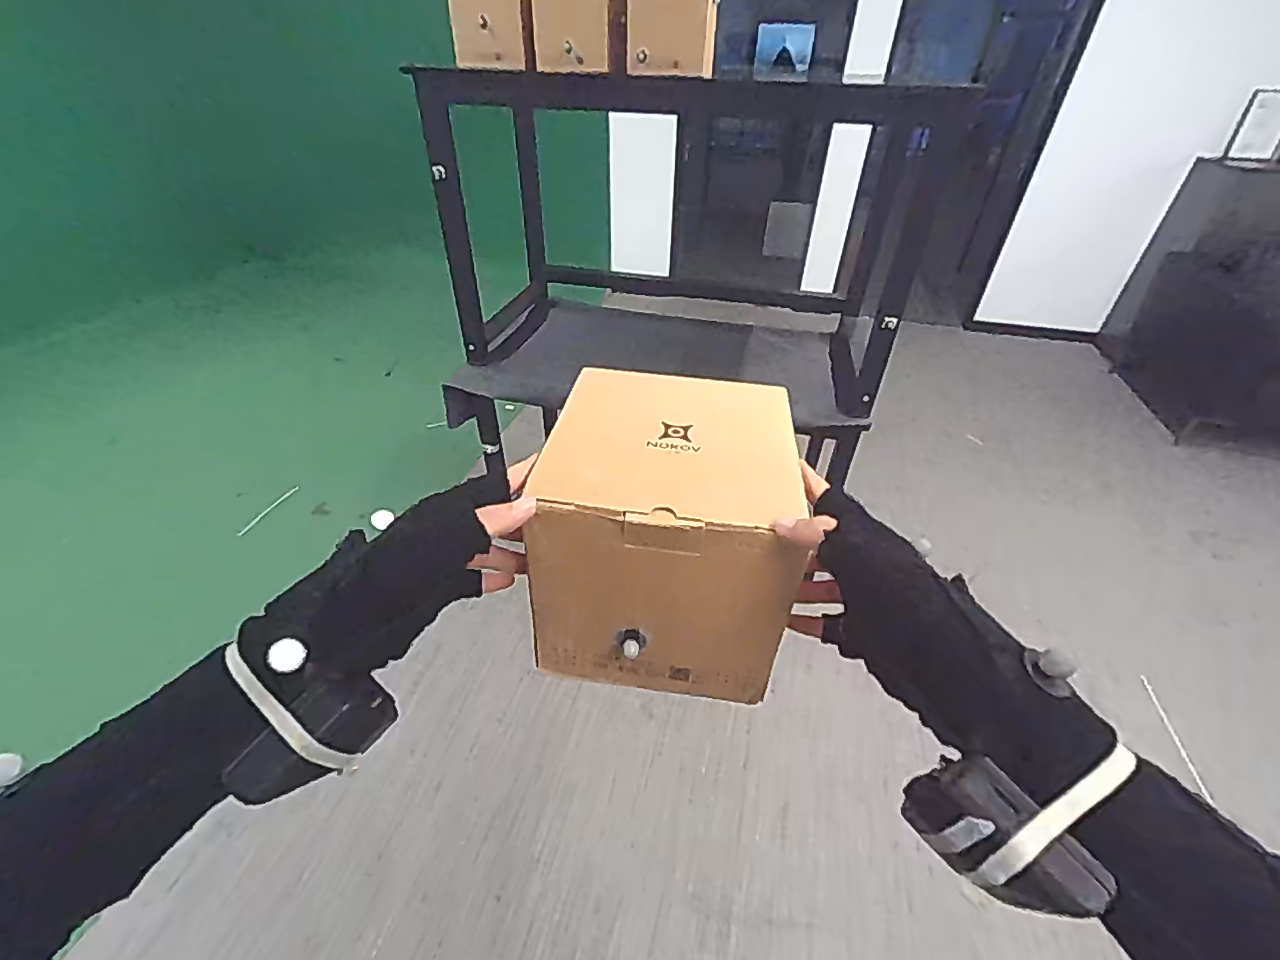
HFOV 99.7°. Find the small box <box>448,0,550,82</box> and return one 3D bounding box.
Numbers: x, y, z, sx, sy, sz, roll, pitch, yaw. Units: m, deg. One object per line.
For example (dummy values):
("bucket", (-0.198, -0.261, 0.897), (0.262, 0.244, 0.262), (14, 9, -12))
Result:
("small box", (-0.313, -1.022, 1.241), (0.168, 0.176, 0.179), (10, 39, 9))

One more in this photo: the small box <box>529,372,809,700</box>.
("small box", (0.021, 0.036, 0.420), (0.168, 0.176, 0.179), (7, 37, 4))

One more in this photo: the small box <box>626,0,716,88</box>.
("small box", (0.069, -0.946, 1.157), (0.168, 0.176, 0.179), (8, 37, 8))
